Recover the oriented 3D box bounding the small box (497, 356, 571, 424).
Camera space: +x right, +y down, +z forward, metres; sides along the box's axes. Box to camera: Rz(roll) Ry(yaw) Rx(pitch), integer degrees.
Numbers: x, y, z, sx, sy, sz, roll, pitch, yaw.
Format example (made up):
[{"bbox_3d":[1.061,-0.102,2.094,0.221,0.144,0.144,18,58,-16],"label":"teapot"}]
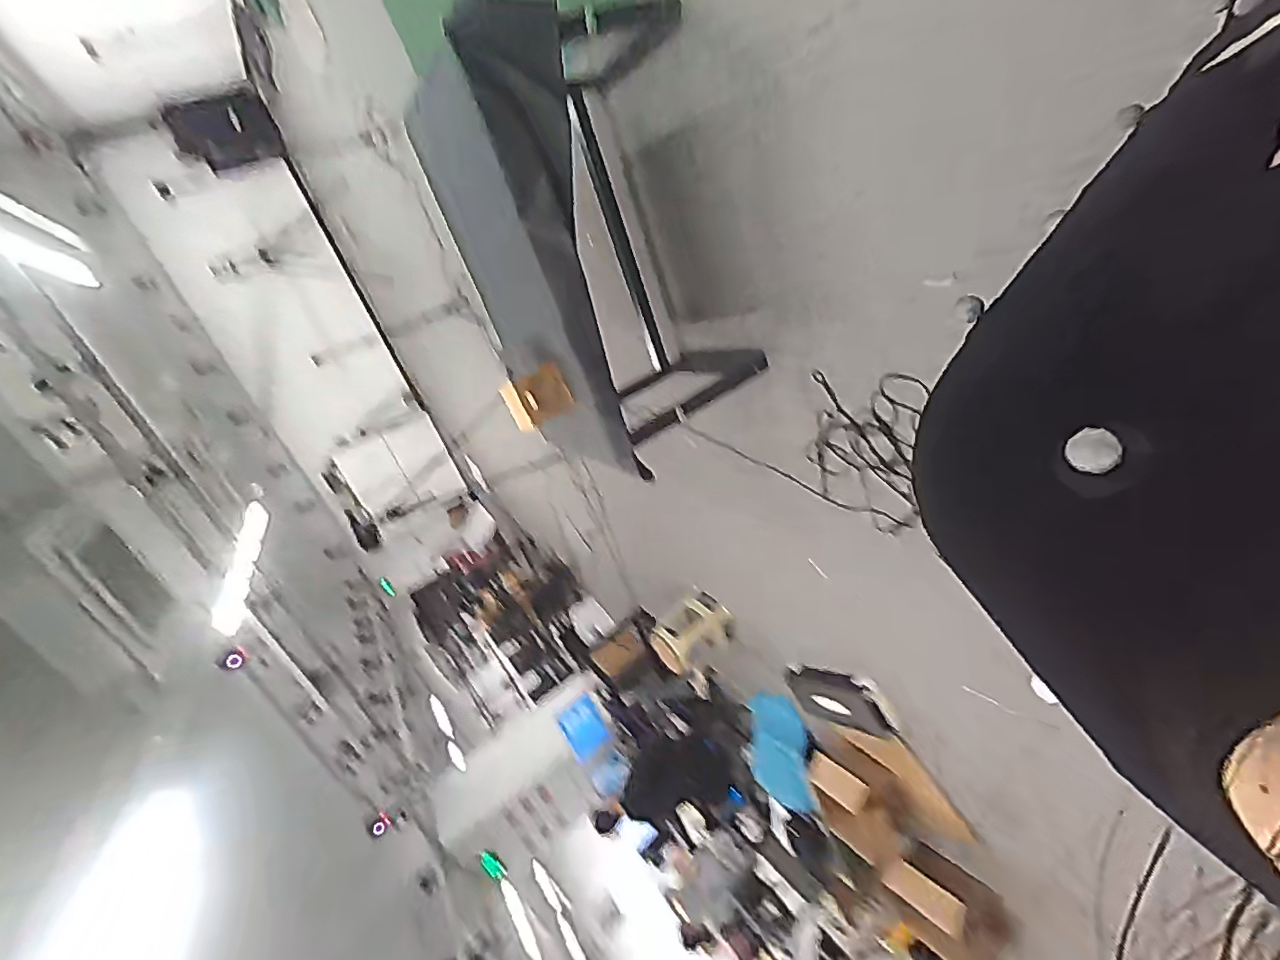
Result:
[{"bbox_3d":[-0.353,-0.299,1.815,0.179,0.176,0.168,3,121,63],"label":"small box"}]
